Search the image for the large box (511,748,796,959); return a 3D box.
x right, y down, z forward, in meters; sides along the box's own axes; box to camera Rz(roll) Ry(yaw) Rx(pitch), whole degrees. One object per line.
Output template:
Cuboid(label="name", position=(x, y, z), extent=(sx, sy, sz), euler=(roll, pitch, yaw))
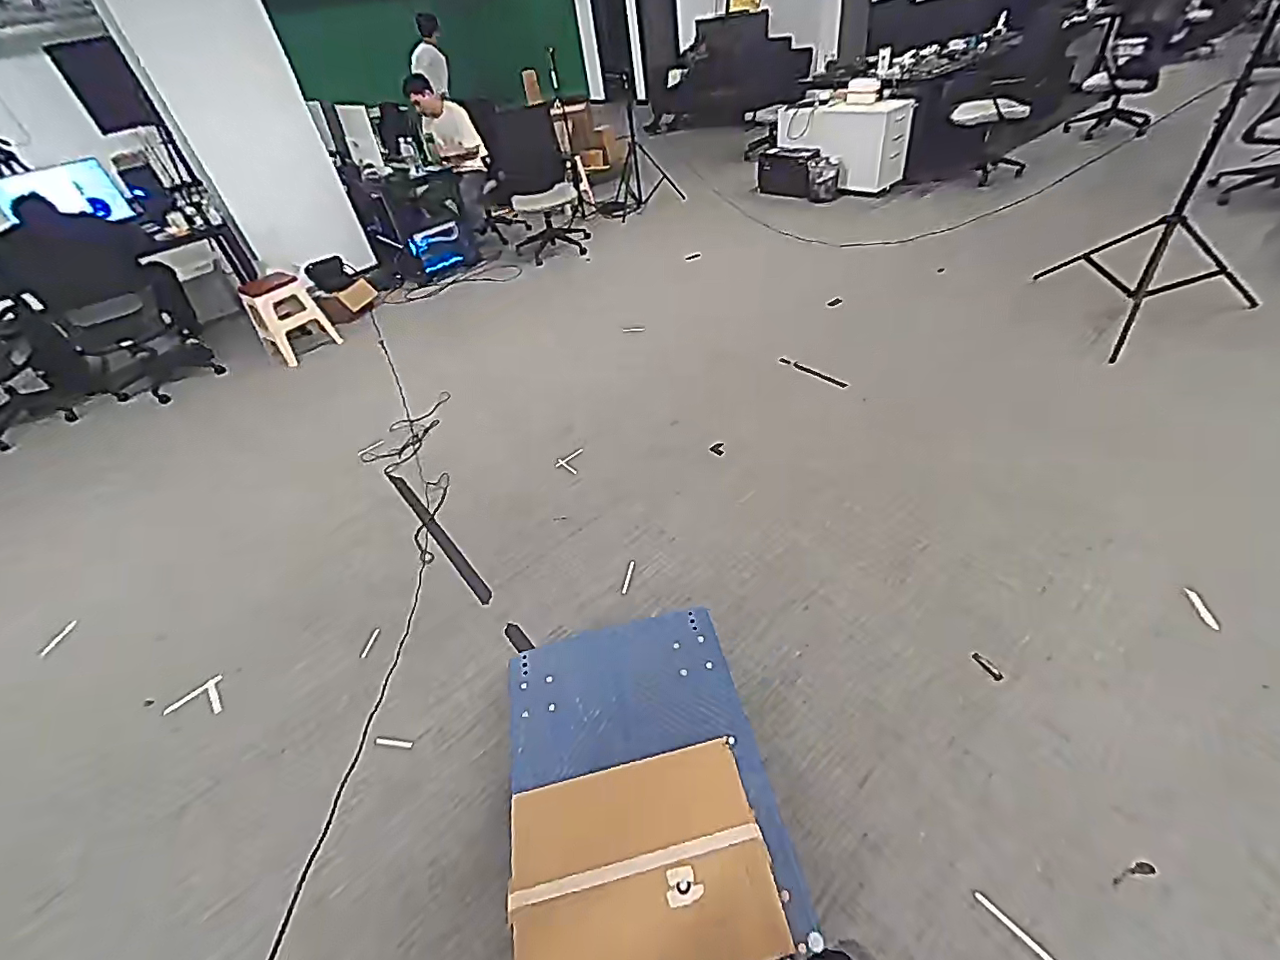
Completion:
Cuboid(label="large box", position=(0.016, 0.738, 0.943), extent=(0.408, 0.320, 0.320), euler=(-14, 42, -4))
